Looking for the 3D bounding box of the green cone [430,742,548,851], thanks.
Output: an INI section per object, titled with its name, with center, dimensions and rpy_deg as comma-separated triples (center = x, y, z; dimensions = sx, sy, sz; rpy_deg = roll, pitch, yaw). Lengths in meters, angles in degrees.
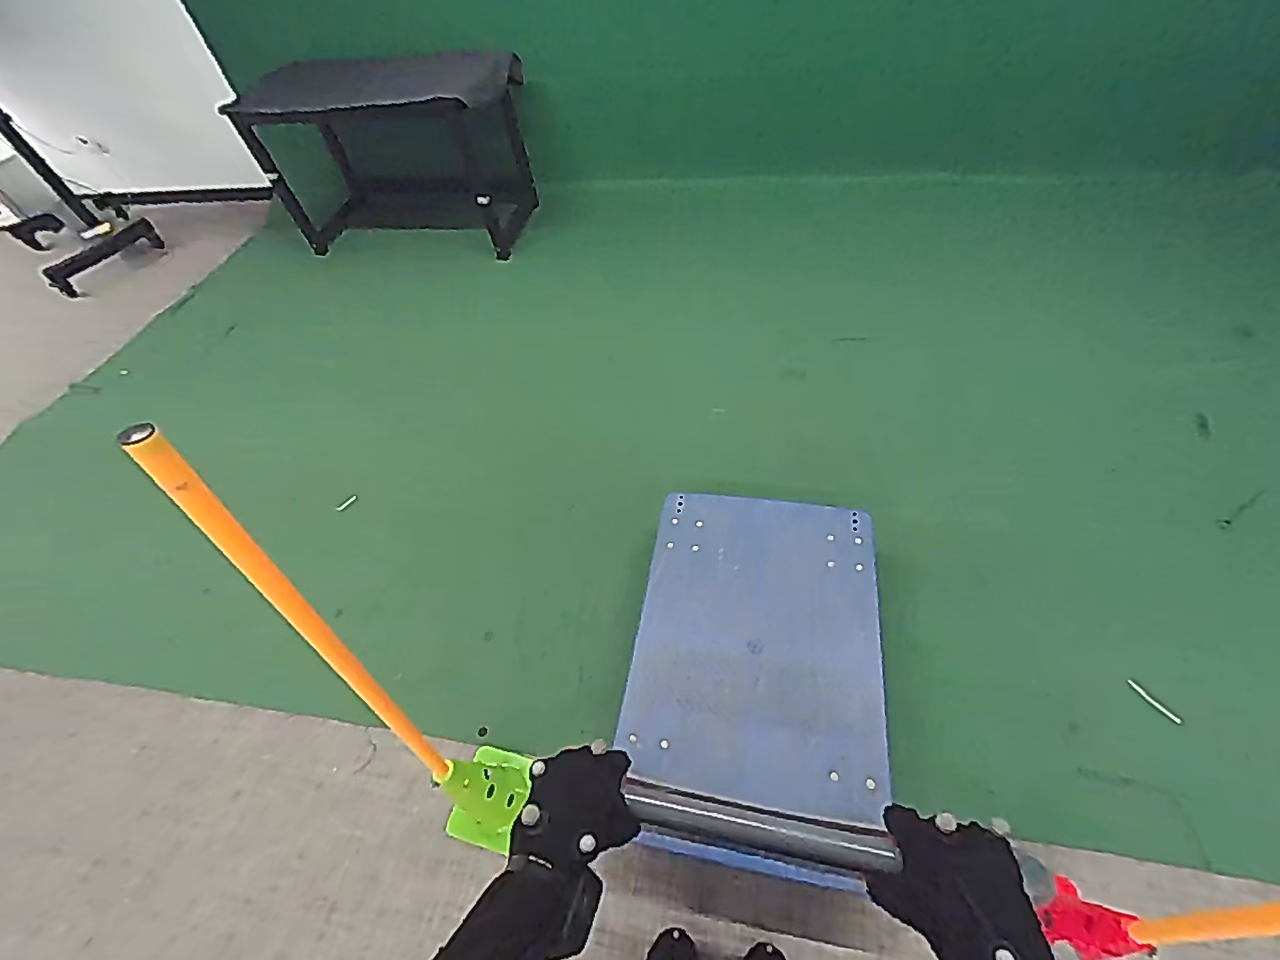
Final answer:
[green cone]
center = -0.360, 0.656, 1.180
dimensions = 0.202, 0.368, 0.200
rpy_deg = 8, 53, 14
